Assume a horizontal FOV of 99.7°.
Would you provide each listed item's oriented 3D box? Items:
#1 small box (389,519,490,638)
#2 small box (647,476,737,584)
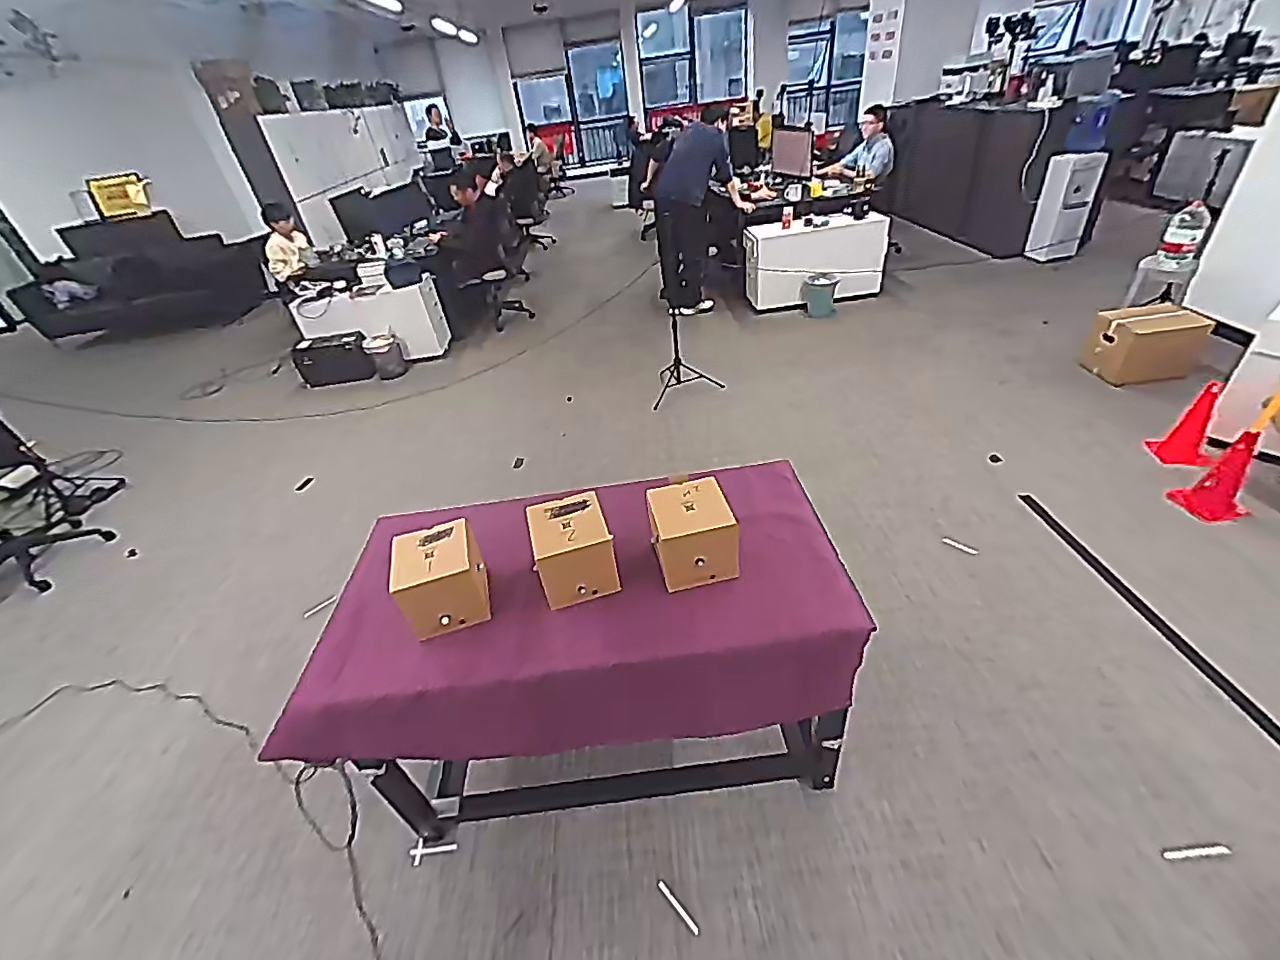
[{"bbox_3d":[-0.445,0.220,1.218,0.168,0.176,0.179,-16,38,-10],"label":"small box"},{"bbox_3d":[0.119,0.120,1.236,0.168,0.176,0.179,-11,36,-4],"label":"small box"}]
